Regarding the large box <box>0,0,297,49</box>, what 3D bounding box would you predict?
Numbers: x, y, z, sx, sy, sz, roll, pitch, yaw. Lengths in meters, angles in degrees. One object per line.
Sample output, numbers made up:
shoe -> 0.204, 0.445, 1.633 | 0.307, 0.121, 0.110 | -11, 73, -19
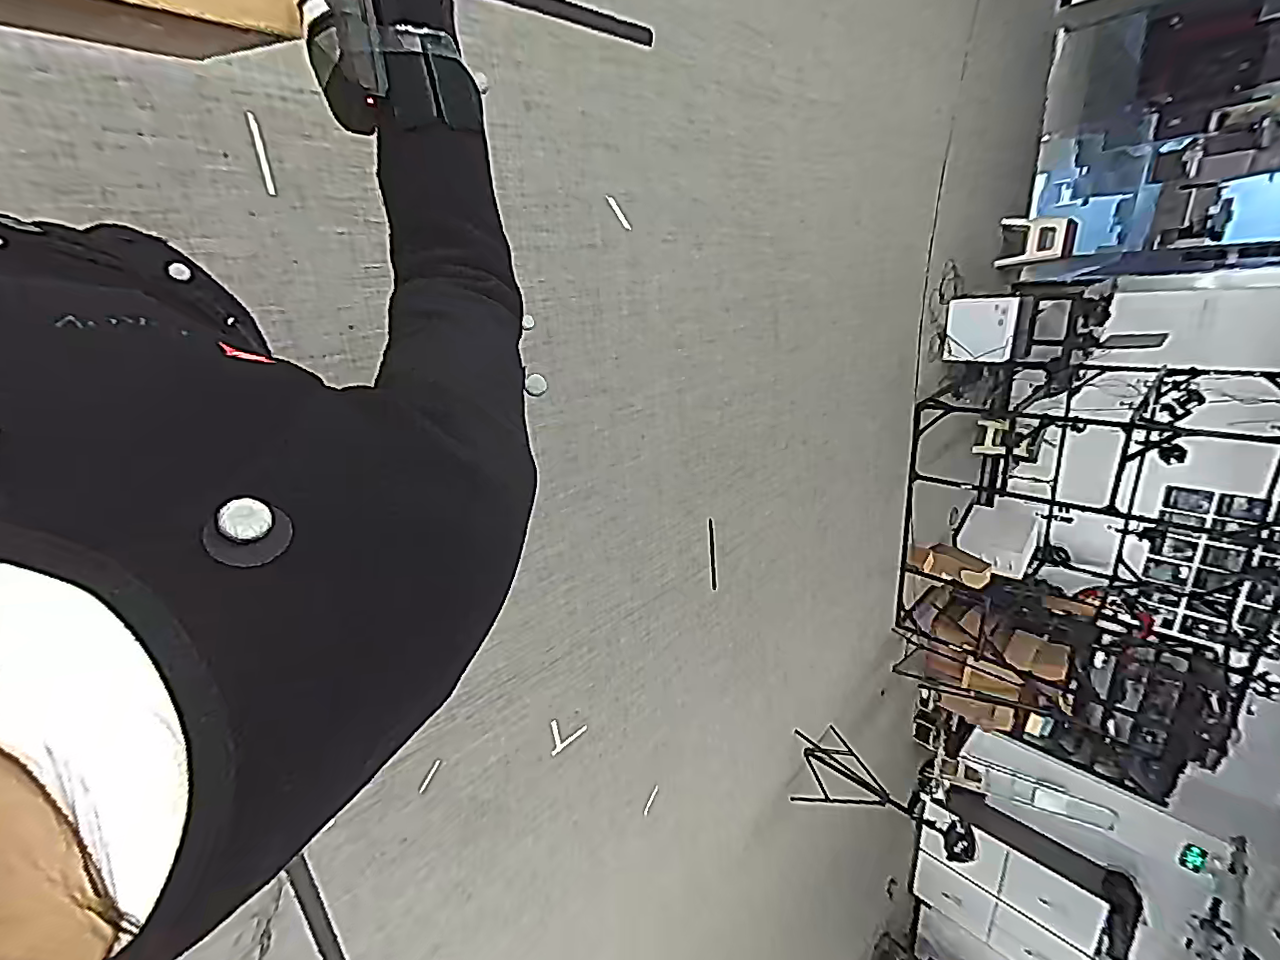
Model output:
large box -> -0.444, -0.416, 0.224 | 0.408, 0.320, 0.320 | -22, 132, -40
